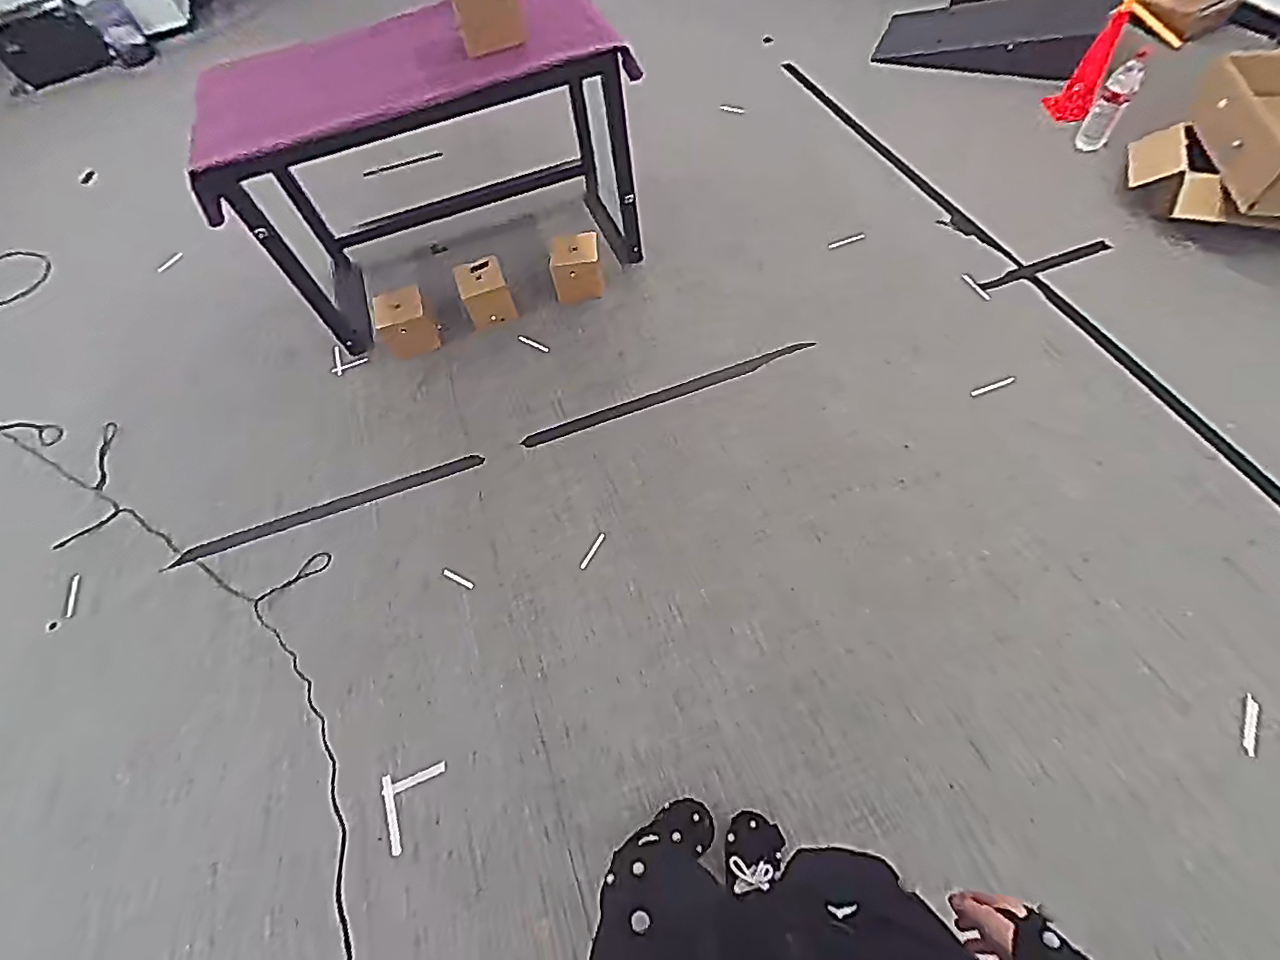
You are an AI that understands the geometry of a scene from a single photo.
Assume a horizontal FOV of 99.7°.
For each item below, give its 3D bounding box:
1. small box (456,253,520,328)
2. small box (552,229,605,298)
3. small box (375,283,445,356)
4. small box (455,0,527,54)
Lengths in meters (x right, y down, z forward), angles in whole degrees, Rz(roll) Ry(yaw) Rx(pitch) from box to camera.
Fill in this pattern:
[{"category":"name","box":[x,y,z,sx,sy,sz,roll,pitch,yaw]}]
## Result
[{"category":"small box","box":[-0.566,-0.704,2.020,0.168,0.176,0.179,-21,62,-5]},{"category":"small box","box":[-0.226,-0.813,2.043,0.179,0.176,0.168,-6,61,5]},{"category":"small box","box":[-0.845,-0.586,1.989,0.179,0.176,0.168,-19,62,-5]},{"category":"small box","box":[-0.428,-1.351,1.524,0.179,0.176,0.168,-19,60,-3]}]
